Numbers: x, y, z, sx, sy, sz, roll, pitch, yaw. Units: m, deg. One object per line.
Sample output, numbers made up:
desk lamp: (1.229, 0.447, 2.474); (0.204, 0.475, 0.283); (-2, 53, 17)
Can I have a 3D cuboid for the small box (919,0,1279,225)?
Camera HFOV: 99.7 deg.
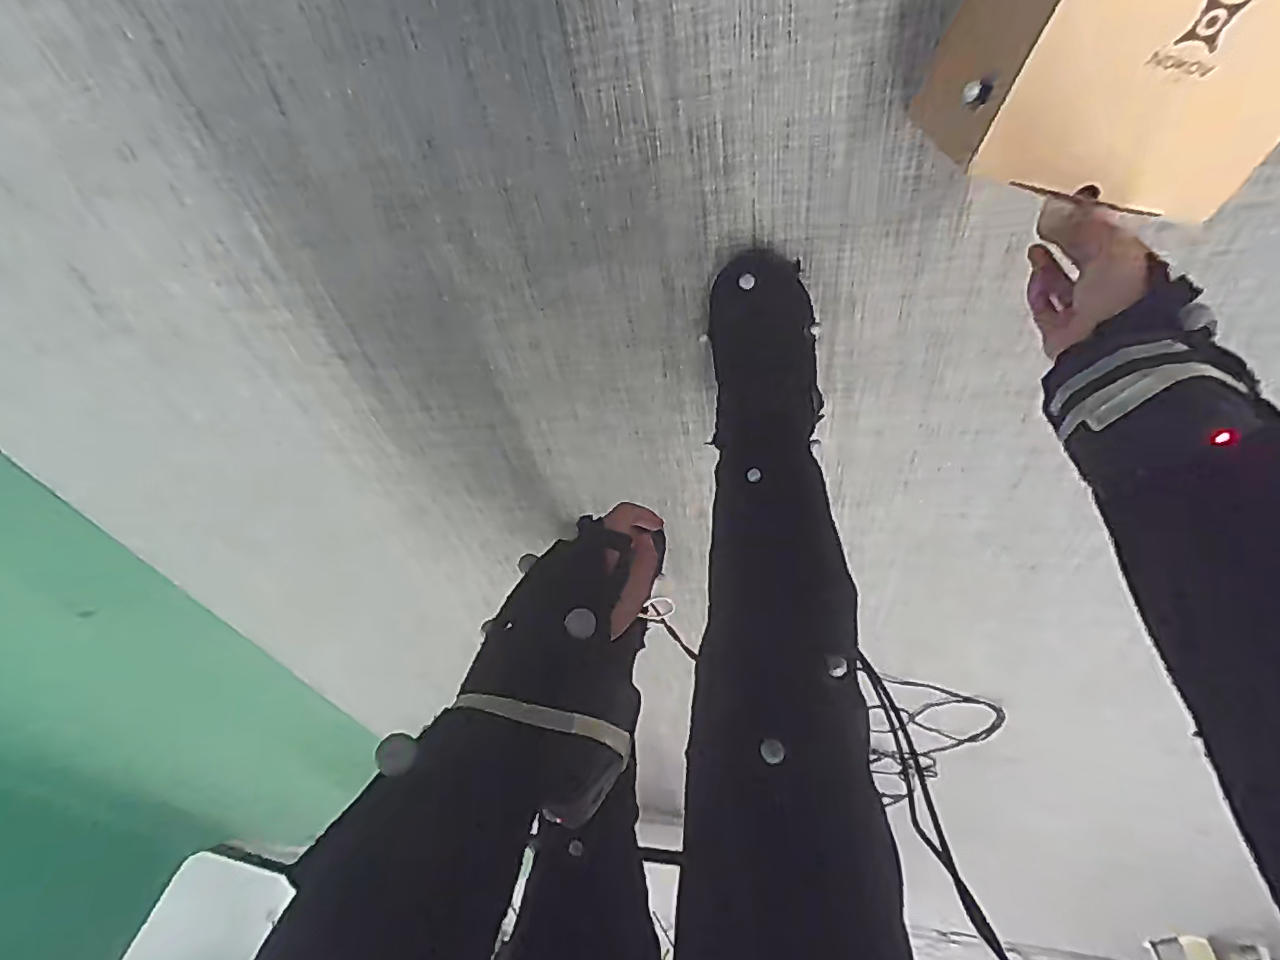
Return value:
small box: (0.309, -0.297, 0.343); (0.168, 0.176, 0.179); (12, 136, -2)
